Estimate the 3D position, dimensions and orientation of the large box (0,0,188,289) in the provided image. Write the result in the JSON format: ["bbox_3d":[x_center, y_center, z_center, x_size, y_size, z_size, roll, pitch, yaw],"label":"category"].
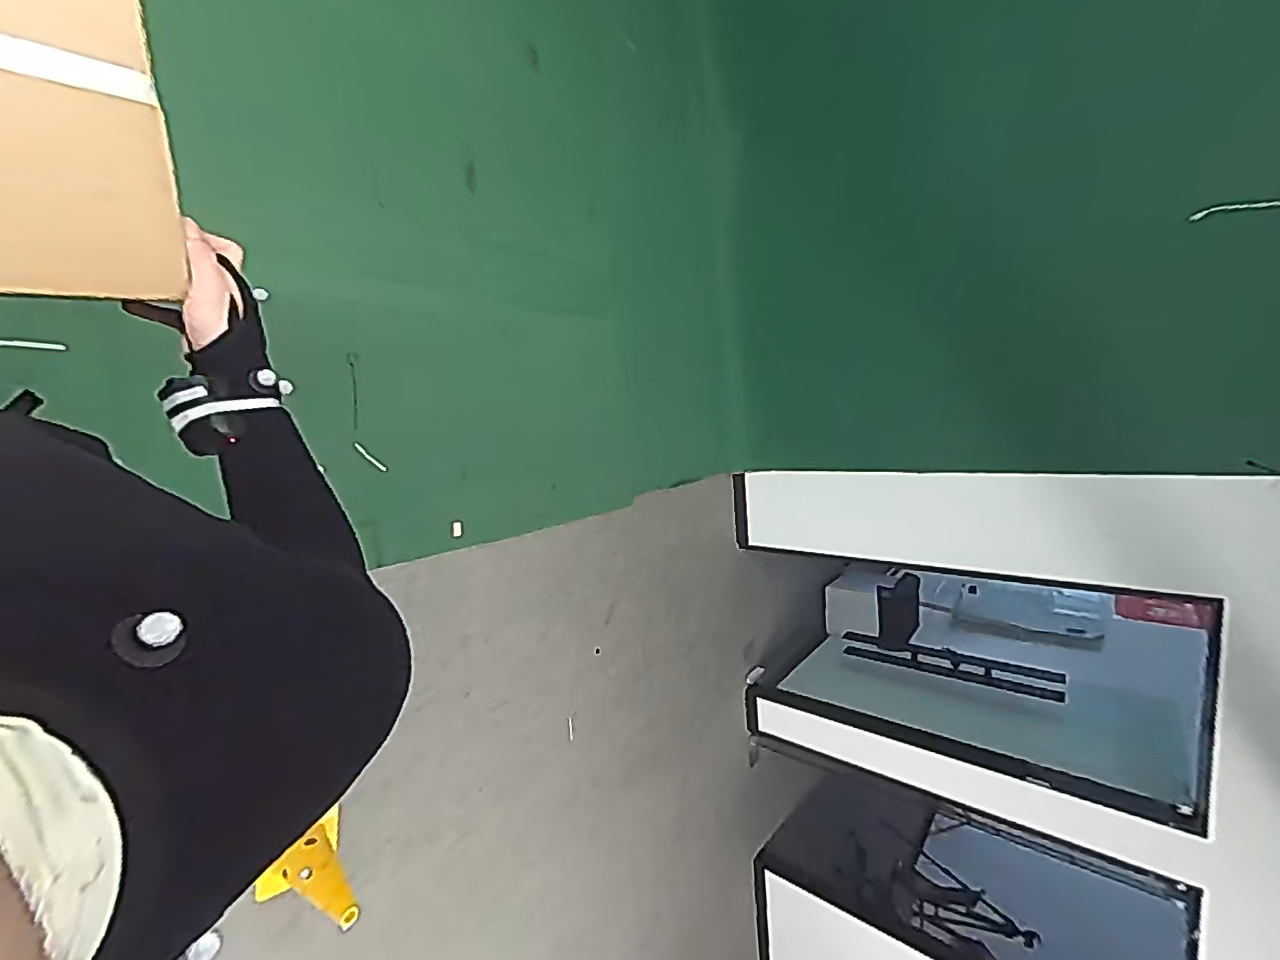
[{"bbox_3d":[-0.634,-0.307,0.379,0.408,0.320,0.320,-16,116,-47],"label":"large box"}]
